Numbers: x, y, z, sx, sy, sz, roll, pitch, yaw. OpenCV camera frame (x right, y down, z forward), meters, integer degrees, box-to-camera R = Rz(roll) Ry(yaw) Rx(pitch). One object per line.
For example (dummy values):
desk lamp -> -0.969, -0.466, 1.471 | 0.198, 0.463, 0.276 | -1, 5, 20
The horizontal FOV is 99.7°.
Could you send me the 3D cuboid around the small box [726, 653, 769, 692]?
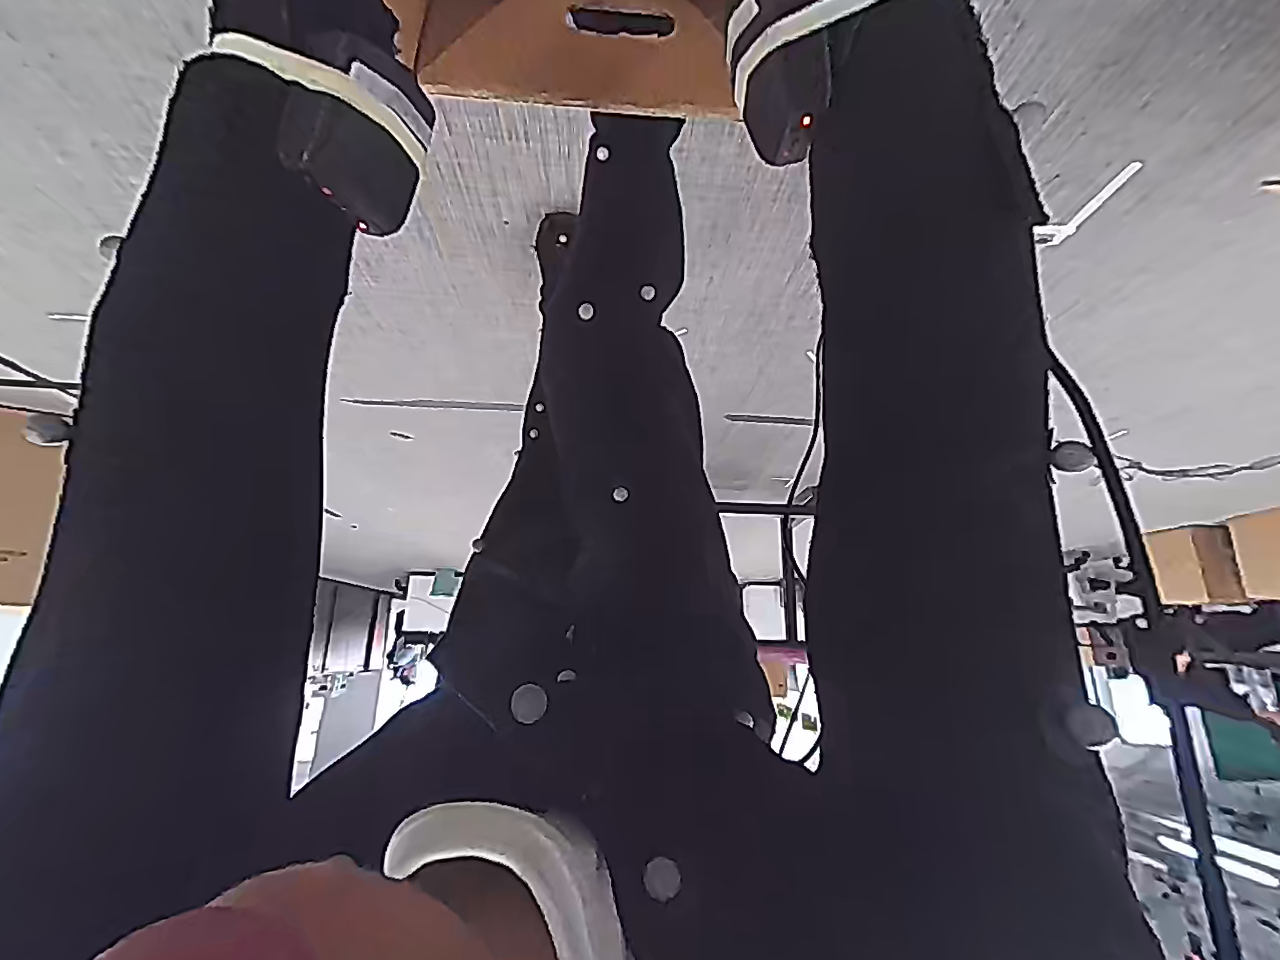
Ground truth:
small box -> 0.505, 0.910, 2.564 | 0.179, 0.176, 0.168 | 1, 163, 0
